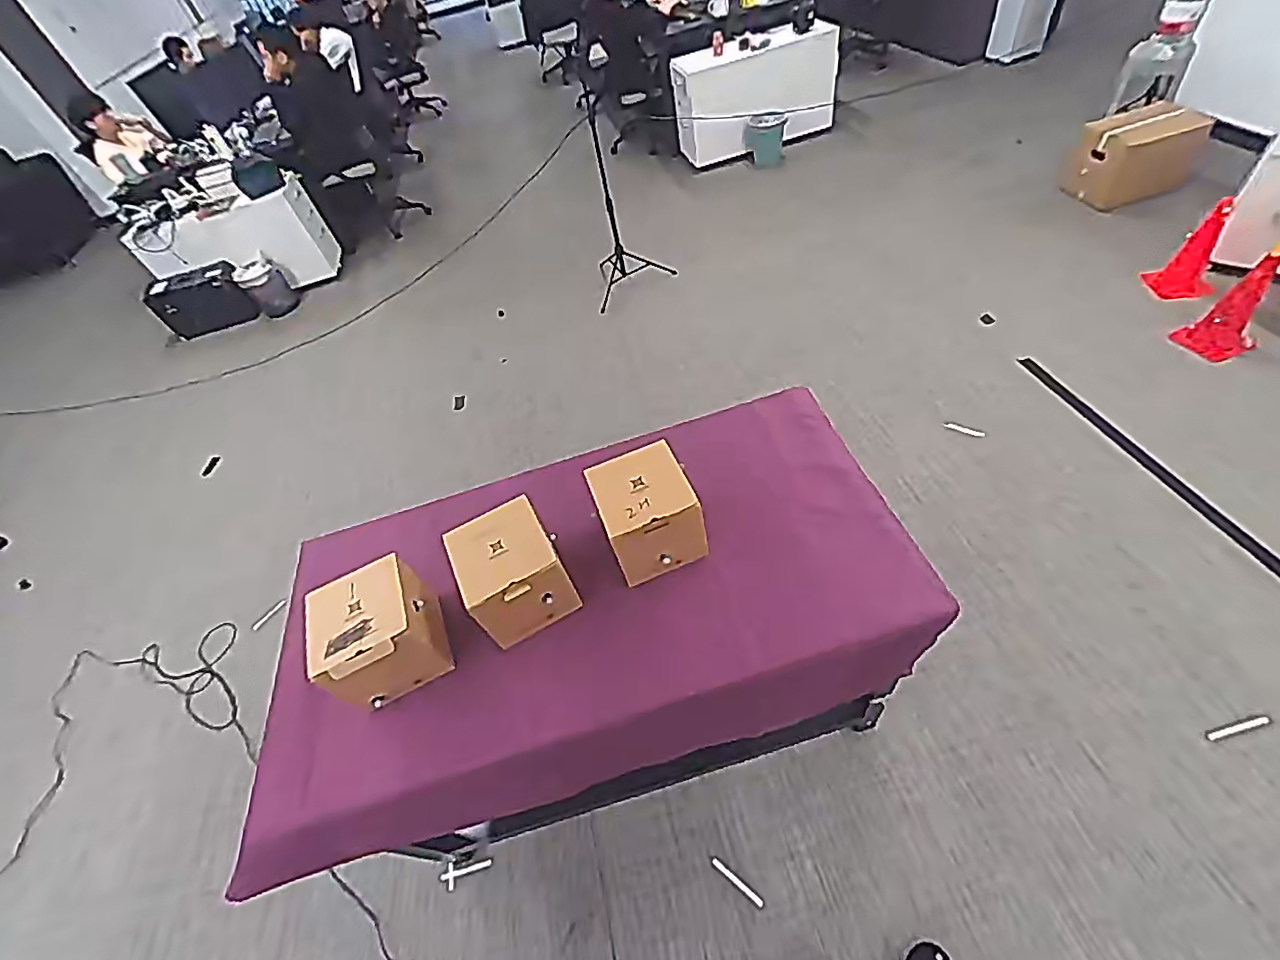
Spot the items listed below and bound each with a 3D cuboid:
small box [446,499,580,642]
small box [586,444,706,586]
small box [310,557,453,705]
[{"bbox_3d":[-0.228,0.175,0.998,0.168,0.176,0.179,-27,50,-10],"label":"small box"},{"bbox_3d":[0.014,0.068,1.026,0.168,0.176,0.179,-22,49,-4],"label":"small box"},{"bbox_3d":[-0.455,0.277,0.965,0.168,0.176,0.179,-26,49,-9],"label":"small box"}]
